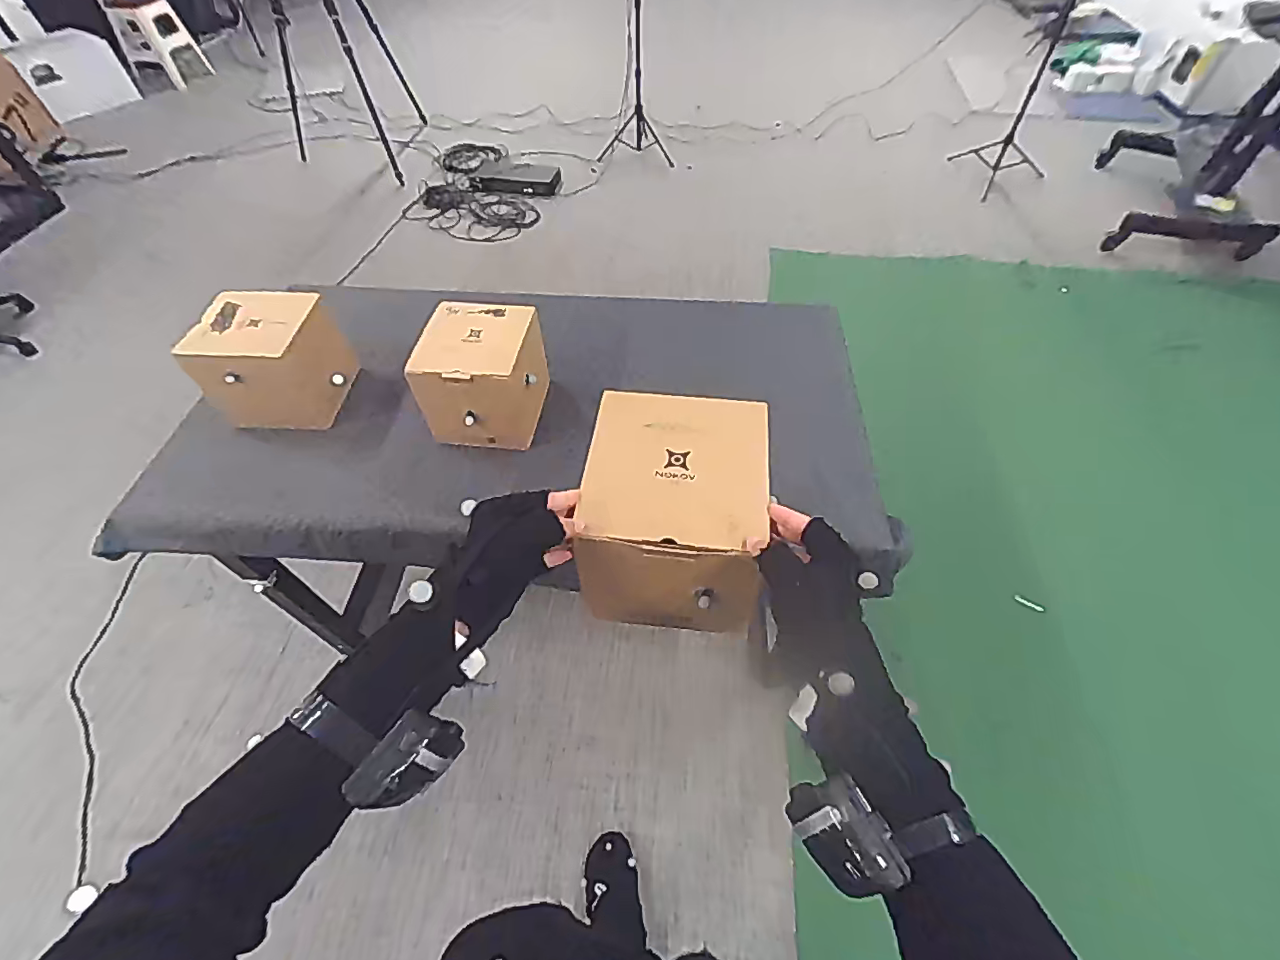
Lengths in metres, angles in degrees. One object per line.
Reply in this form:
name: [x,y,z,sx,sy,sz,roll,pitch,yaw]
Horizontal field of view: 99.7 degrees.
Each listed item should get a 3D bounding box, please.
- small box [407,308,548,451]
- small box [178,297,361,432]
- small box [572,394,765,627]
small box: [-0.260,-0.167,0.919,0.168,0.176,0.179,5,53,4]
small box: [-0.628,-0.198,0.945,0.179,0.176,0.168,2,53,1]
small box: [0.034,0.035,0.560,0.168,0.176,0.179,5,51,4]
